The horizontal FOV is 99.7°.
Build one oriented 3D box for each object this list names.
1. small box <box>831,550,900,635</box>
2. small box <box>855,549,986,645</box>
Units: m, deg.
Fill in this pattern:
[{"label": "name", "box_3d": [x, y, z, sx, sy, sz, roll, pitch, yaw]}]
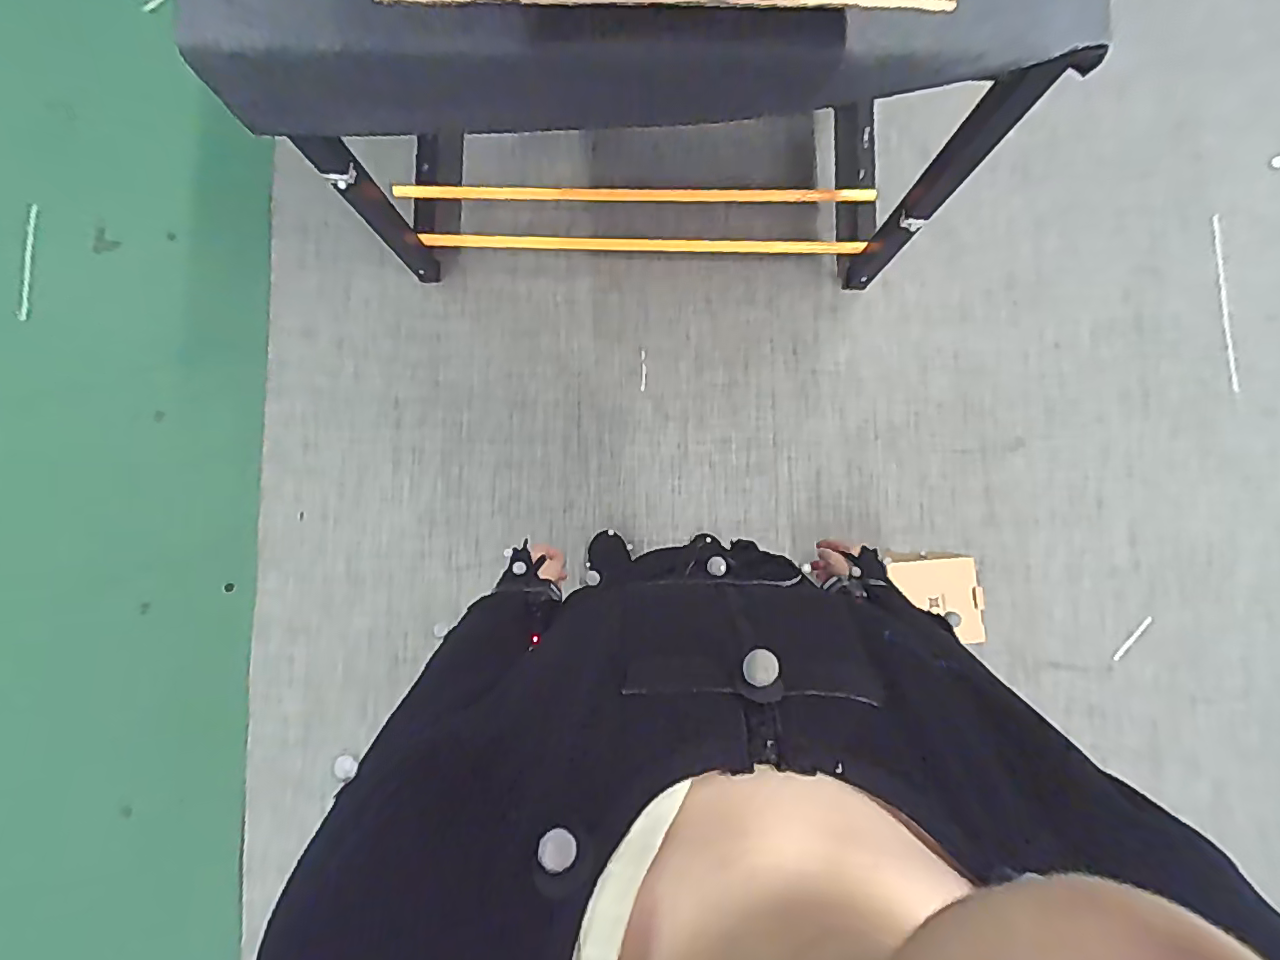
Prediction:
[{"label": "small box", "box_3d": [0.565, 0.259, 1.278, 0.168, 0.176, 0.179, -5, 85, 0]}, {"label": "small box", "box_3d": [0.569, 0.234, 1.116, 0.179, 0.176, 0.168, -5, 84, 1]}]
